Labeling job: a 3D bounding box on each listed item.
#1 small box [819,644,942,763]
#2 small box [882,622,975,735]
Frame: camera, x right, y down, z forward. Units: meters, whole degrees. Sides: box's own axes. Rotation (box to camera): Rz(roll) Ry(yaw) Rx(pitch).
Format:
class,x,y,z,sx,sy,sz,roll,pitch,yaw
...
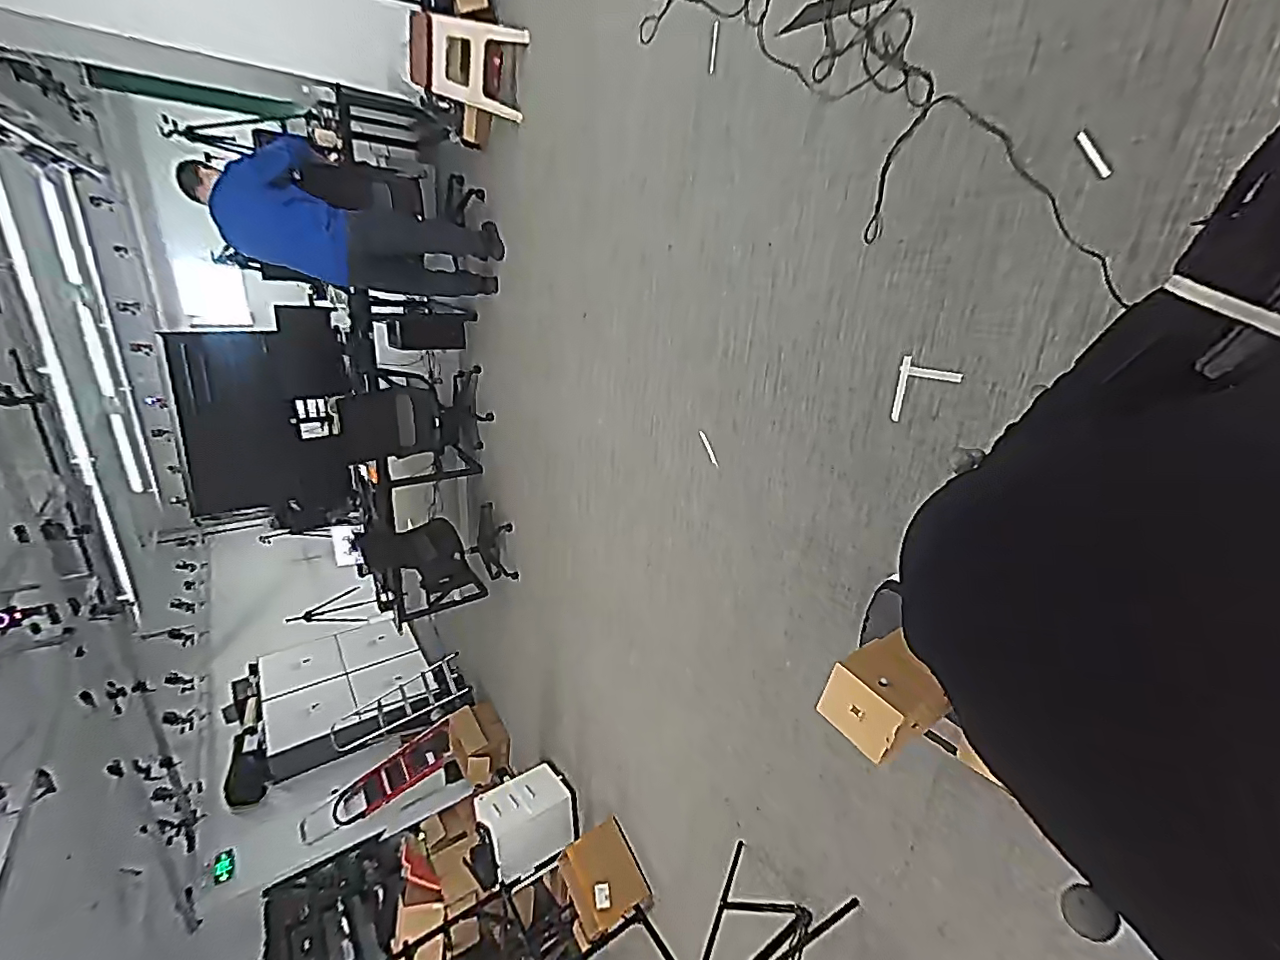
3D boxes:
class,x,y,z,sx,sy,sz,roll,pitch,yaw
small box,0.561,0.508,1.265,0.179,0.176,0.168,37,128,42
small box,0.699,0.484,1.348,0.168,0.176,0.179,35,128,45
